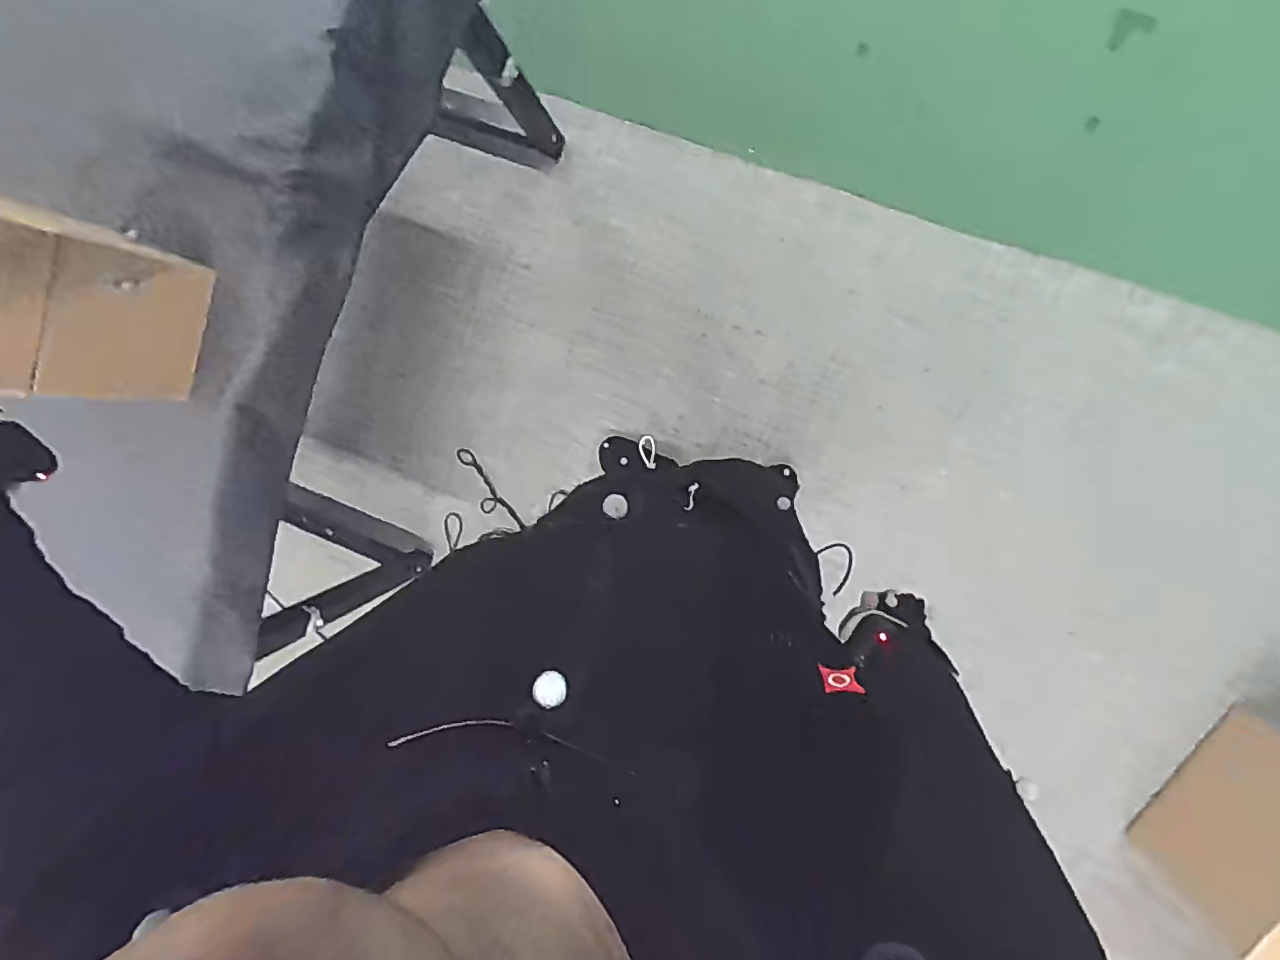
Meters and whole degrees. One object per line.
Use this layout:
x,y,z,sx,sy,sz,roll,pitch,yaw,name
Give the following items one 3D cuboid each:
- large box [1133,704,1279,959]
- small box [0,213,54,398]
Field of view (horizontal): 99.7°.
1.354,0.753,1.085,0.320,0.320,0.408,28,102,6,large box
-0.684,-0.179,0.473,0.168,0.176,0.179,22,99,7,small box
